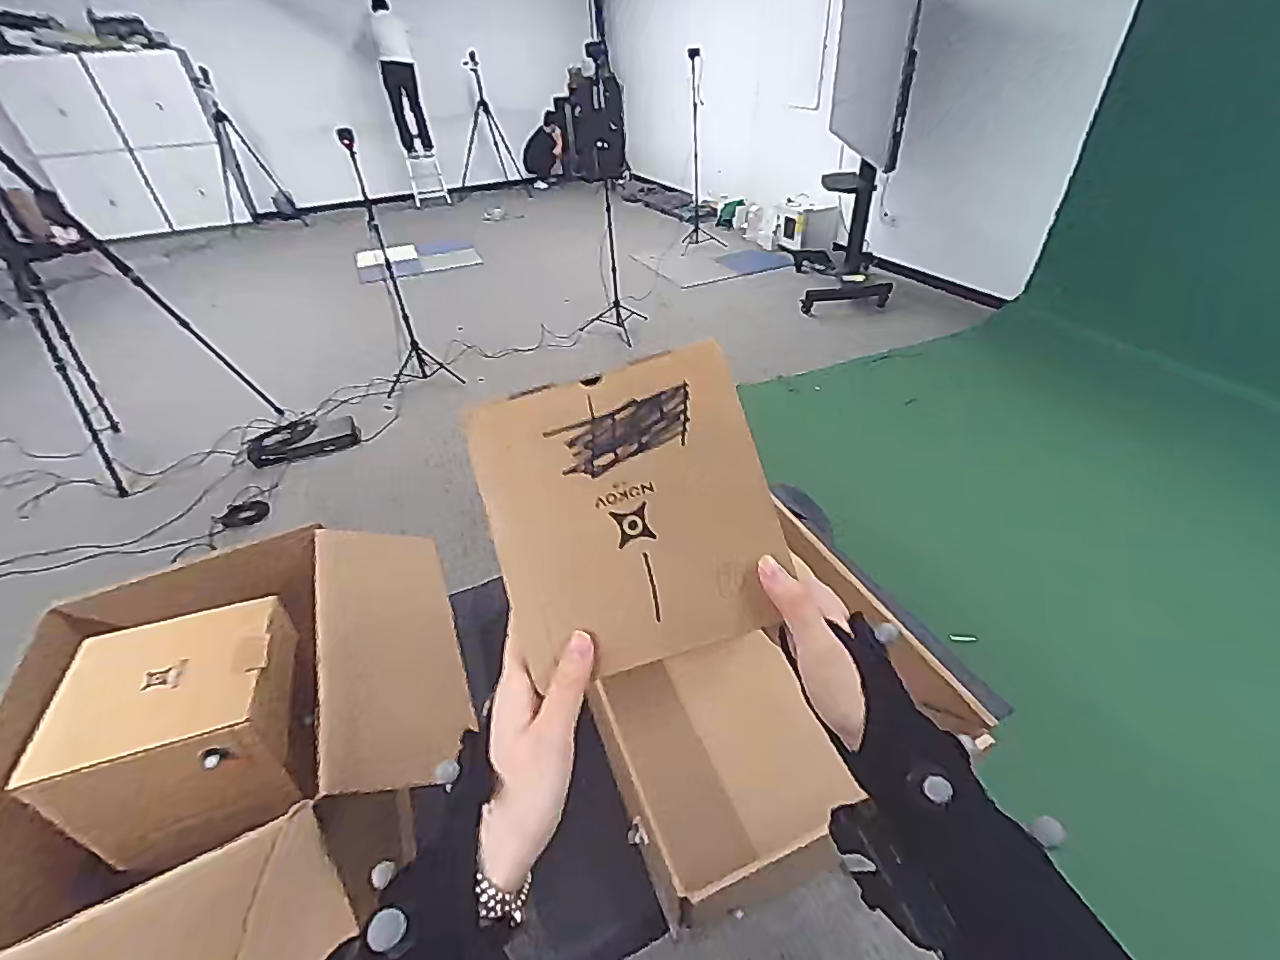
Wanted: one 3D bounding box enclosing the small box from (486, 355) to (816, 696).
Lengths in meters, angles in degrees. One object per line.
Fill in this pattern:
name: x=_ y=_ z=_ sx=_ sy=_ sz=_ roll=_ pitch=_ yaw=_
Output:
small box: x=0.004 y=0.034 z=0.407 sx=0.168 sy=0.176 sz=0.179 roll=-17 pitch=83 yaw=-2
